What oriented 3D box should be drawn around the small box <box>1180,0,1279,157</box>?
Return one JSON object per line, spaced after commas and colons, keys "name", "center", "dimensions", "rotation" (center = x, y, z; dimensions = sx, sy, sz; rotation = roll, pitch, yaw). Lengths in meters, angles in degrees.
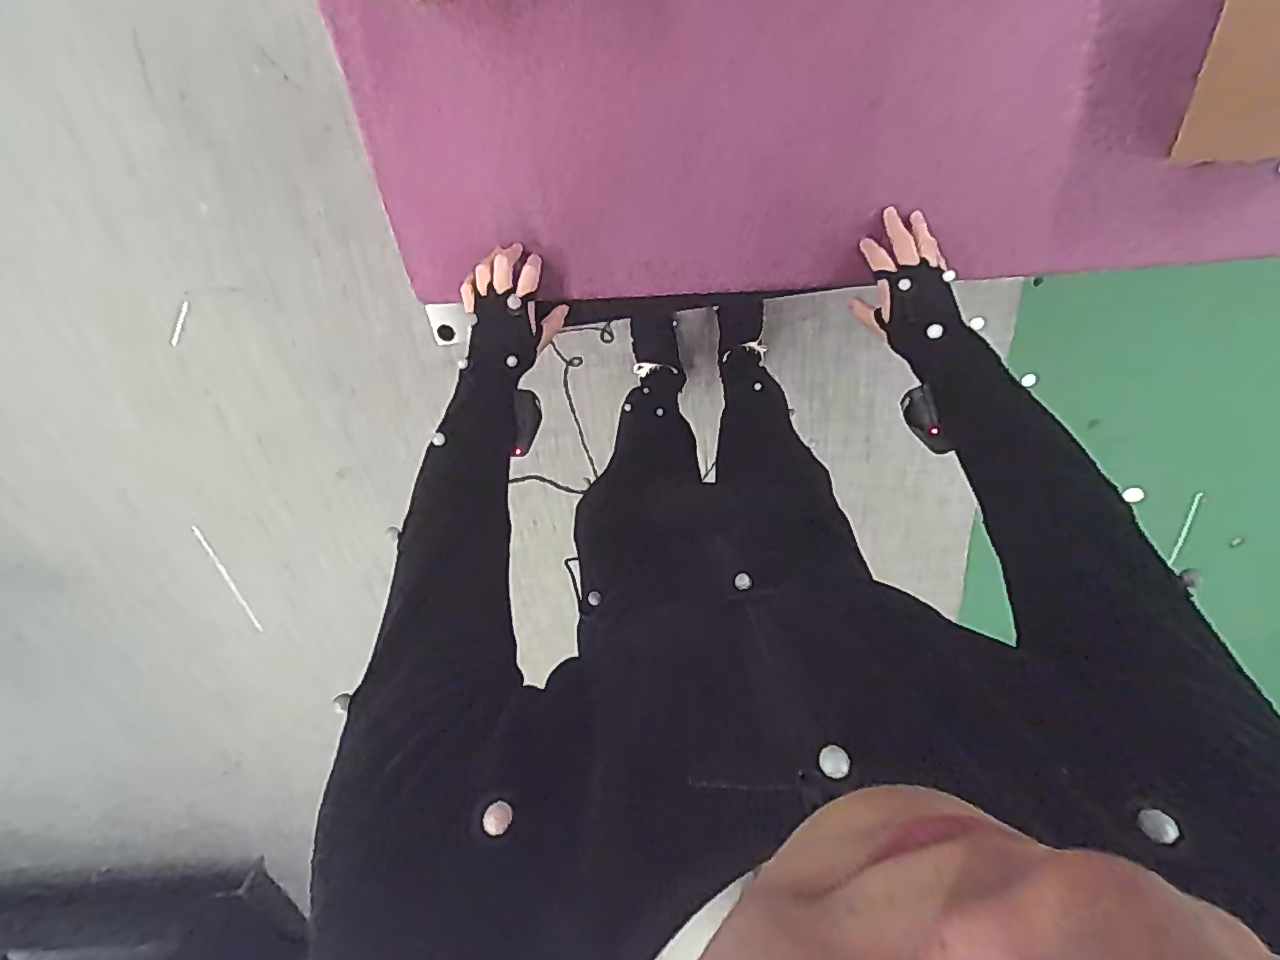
{"name": "small box", "center": [0.670, -0.403, 0.493], "dimensions": [0.168, 0.176, 0.179], "rotation": [-1, 119, 3]}
